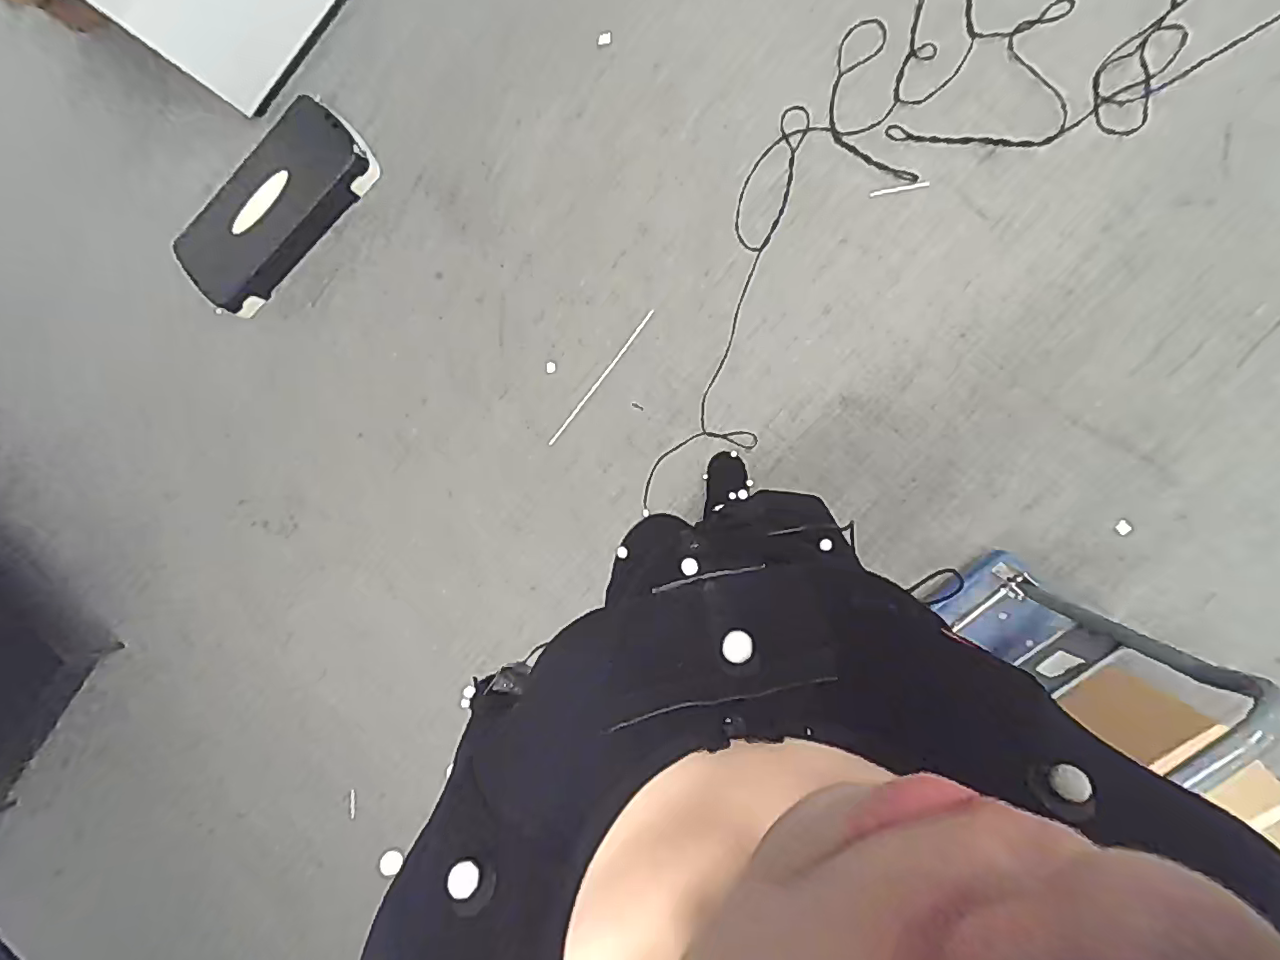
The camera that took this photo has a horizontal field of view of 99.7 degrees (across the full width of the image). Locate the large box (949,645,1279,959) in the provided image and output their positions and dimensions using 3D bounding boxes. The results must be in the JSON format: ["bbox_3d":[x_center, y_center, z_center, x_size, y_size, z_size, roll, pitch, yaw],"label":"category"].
[{"bbox_3d":[0.923,0.603,1.056,0.408,0.320,0.320,-41,83,10],"label":"large box"}]
